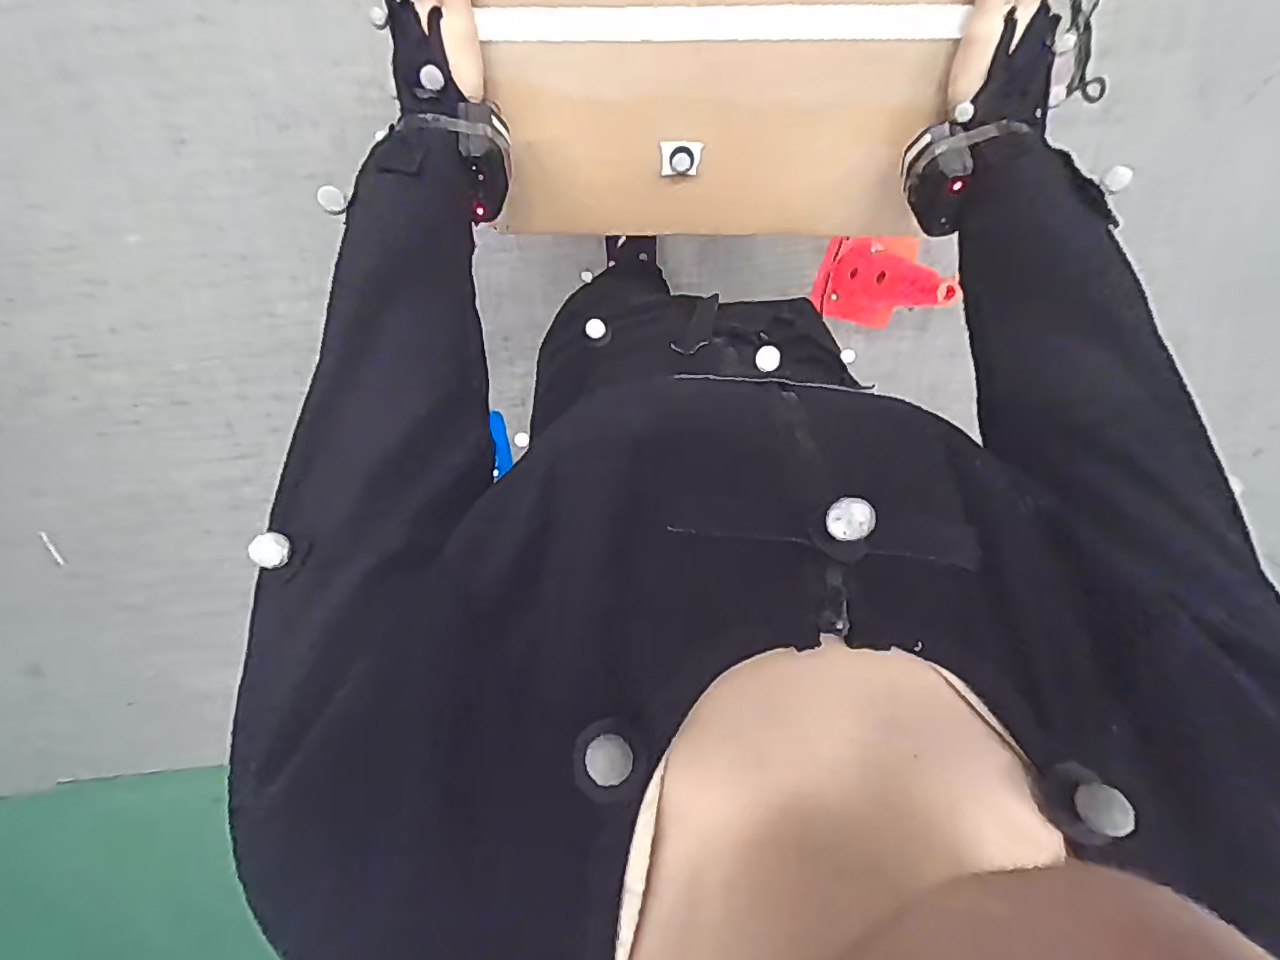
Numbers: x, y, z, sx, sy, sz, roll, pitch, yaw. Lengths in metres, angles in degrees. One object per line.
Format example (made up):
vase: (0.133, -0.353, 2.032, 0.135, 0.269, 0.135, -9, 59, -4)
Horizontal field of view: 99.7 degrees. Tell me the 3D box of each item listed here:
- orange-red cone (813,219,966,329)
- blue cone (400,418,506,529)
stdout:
orange-red cone: (0.507, -0.377, 1.036, 0.199, 0.360, 0.198, 13, 114, -9)
blue cone: (-0.434, 0.003, 1.200, 0.192, 0.380, 0.193, -4, 114, 1)
